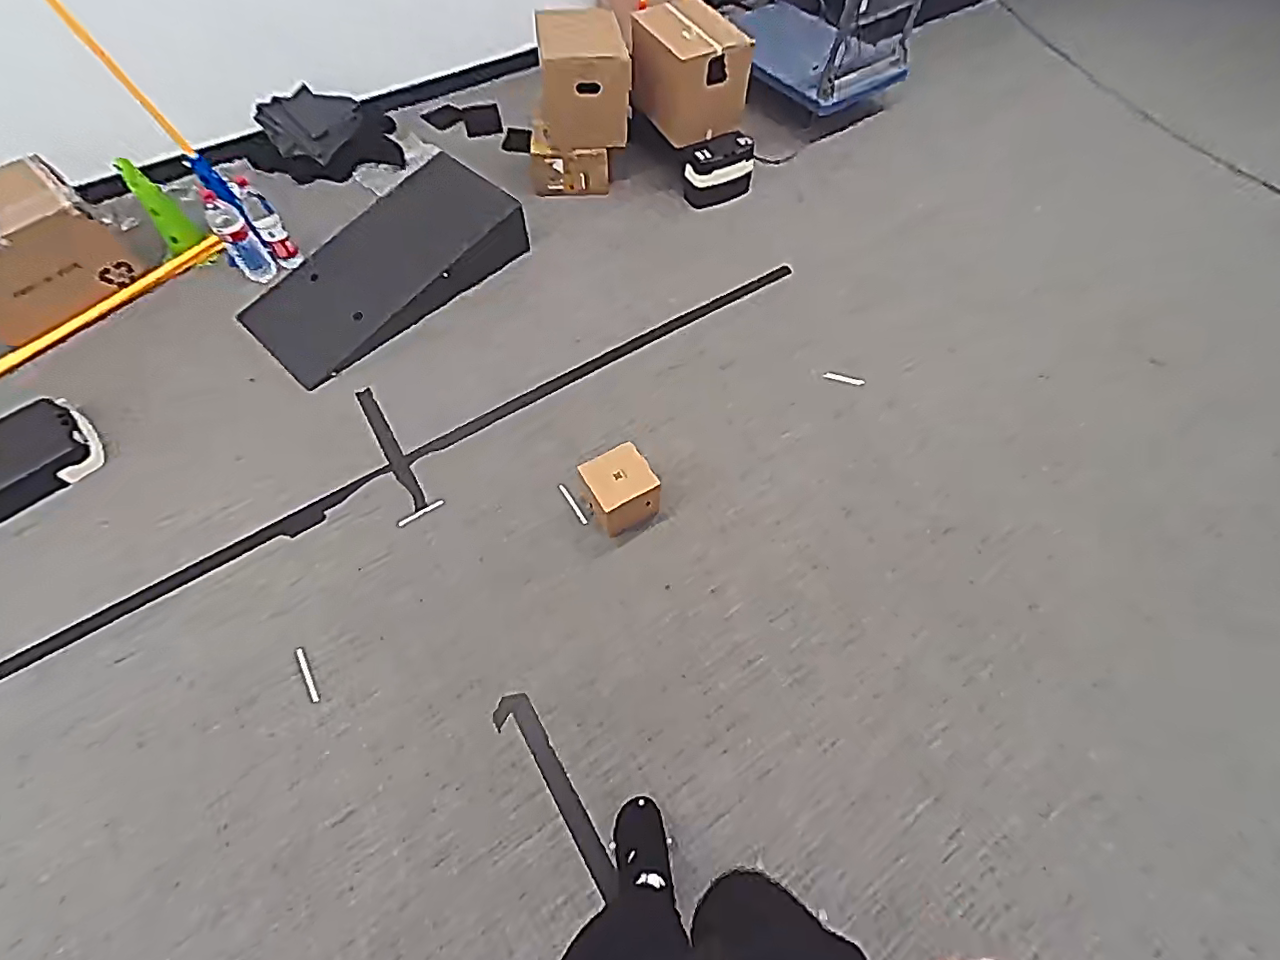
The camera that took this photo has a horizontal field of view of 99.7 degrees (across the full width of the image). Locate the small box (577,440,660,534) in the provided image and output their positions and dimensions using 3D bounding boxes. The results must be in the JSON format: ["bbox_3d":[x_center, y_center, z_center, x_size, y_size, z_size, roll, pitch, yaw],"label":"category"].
[{"bbox_3d":[-0.062,0.022,1.529,0.179,0.176,0.168,-28,64,-15],"label":"small box"}]
